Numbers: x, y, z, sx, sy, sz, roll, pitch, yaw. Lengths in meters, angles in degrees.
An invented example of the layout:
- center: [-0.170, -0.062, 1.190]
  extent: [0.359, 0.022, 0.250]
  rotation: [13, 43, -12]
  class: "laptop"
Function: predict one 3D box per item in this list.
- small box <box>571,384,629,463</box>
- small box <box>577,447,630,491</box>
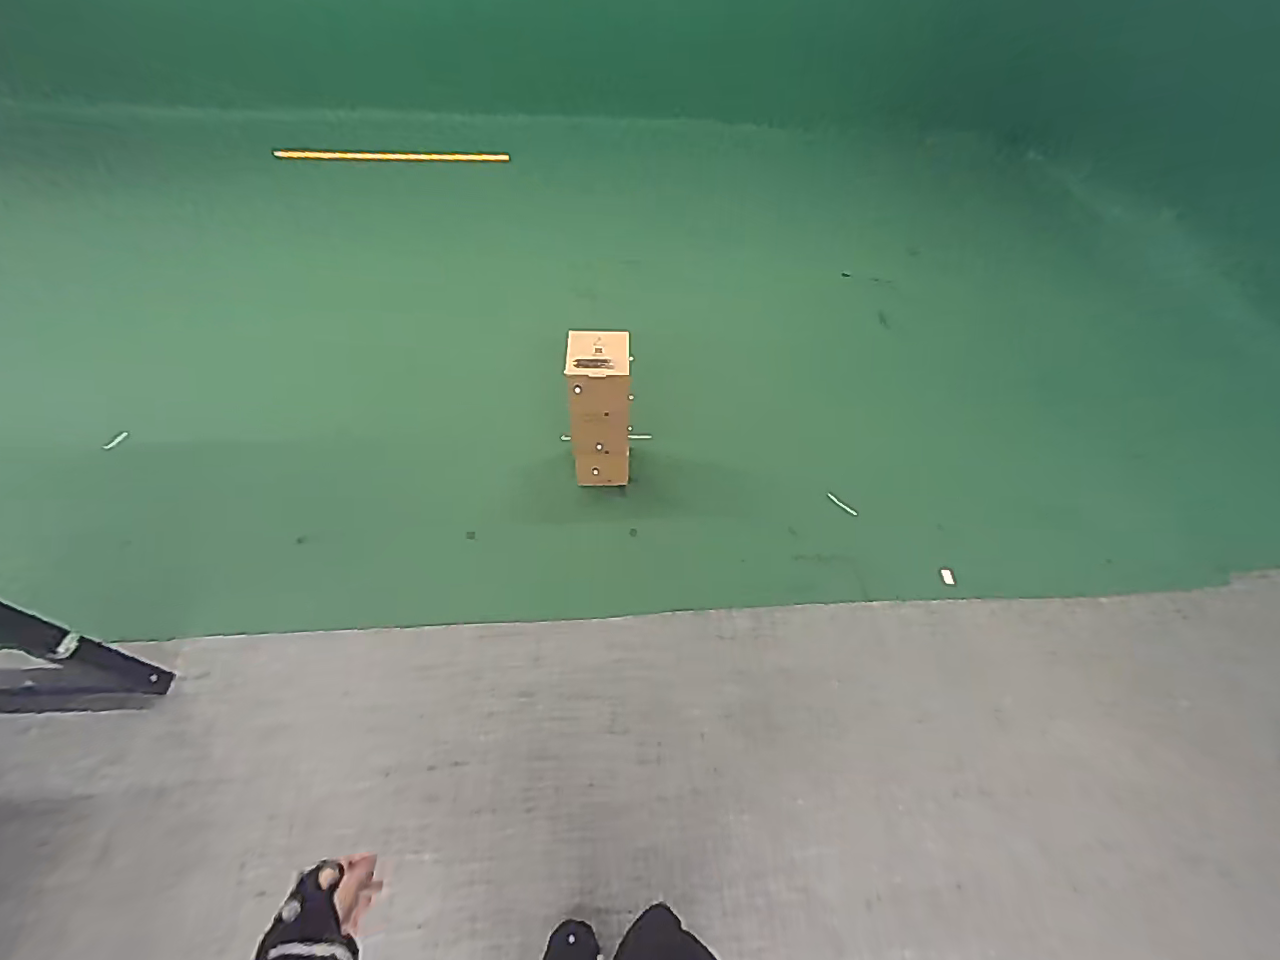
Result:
- center: [-0.117, -0.171, 1.632]
  extent: [0.168, 0.176, 0.179]
  rotation: [-1, 54, -1]
  class: "small box"
- center: [-0.118, -0.074, 1.766]
  extent: [0.168, 0.176, 0.179]
  rotation: [-3, 54, -3]
  class: "small box"
